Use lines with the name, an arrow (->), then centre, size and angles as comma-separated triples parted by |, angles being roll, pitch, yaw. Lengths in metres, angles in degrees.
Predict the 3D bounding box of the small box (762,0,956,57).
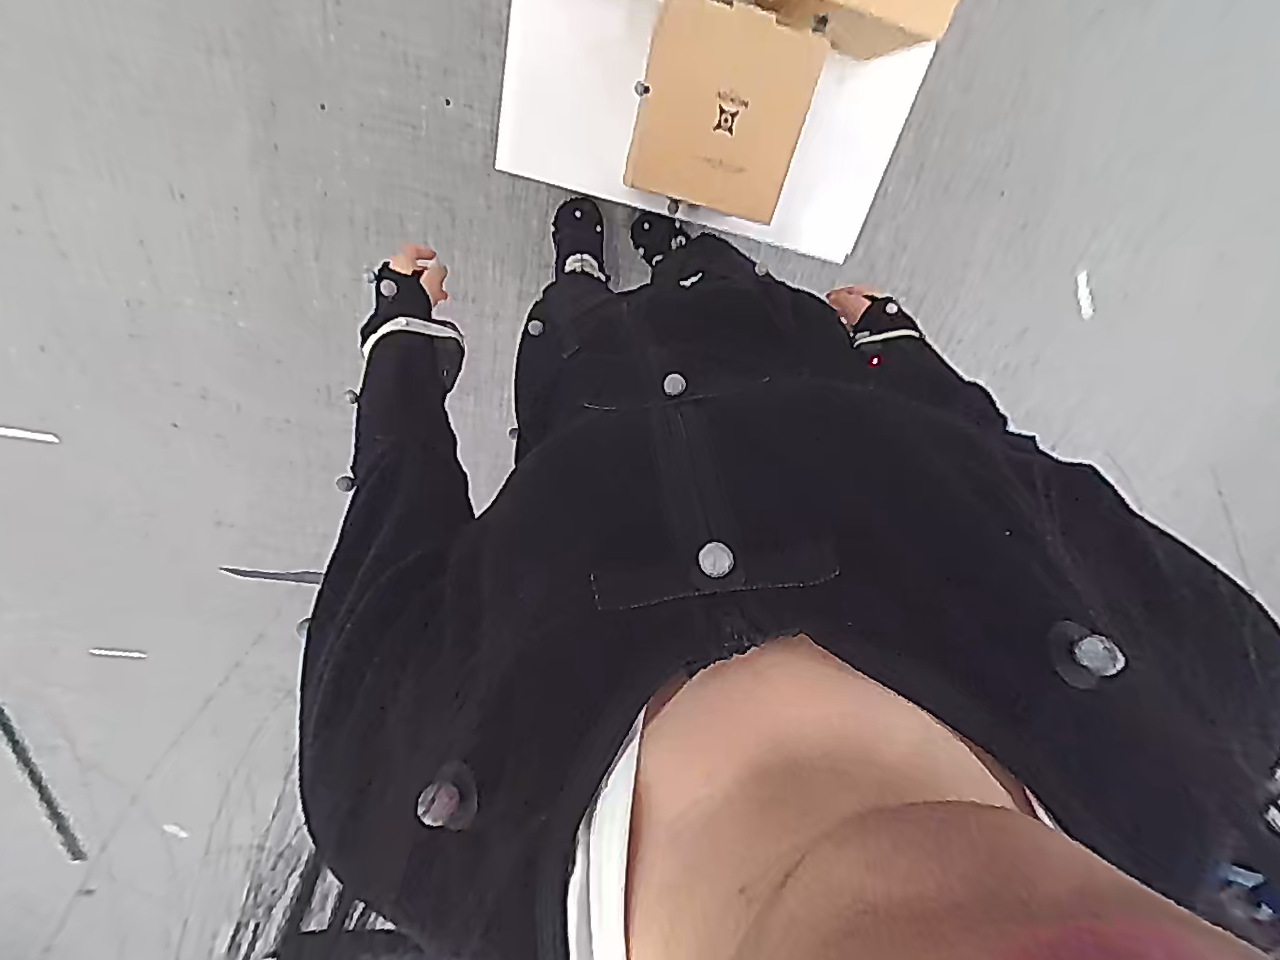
small box -> 0.239, -0.571, 0.556 | 0.168, 0.176, 0.179 | 10, 119, -12
